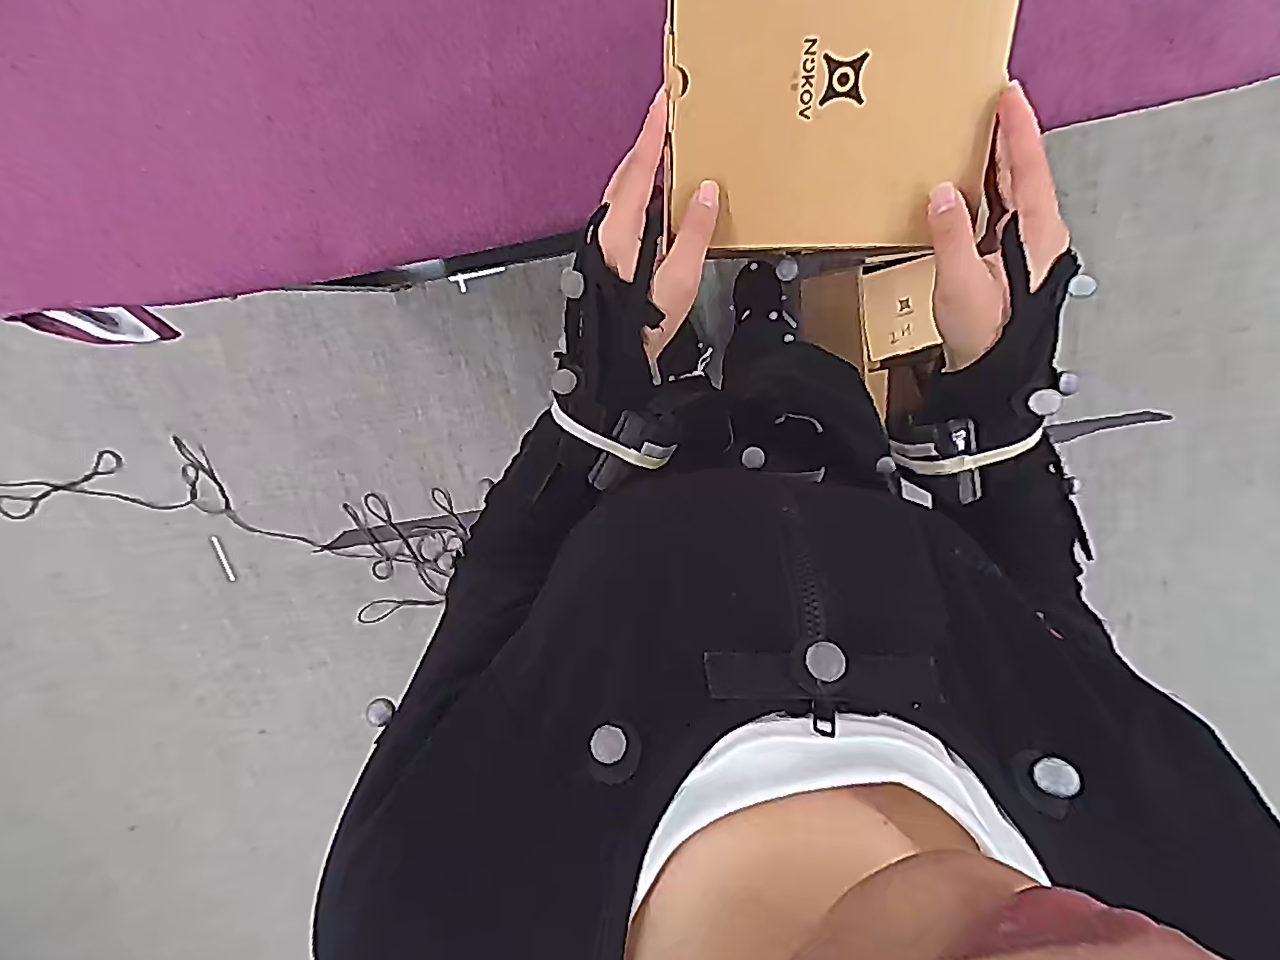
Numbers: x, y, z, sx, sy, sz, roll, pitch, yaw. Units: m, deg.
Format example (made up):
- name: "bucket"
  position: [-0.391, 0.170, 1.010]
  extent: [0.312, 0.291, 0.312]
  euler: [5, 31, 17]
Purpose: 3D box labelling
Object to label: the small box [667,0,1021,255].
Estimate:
- name: "small box"
  position: [0.108, -0.242, 0.358]
  extent: [0.179, 0.176, 0.168]
  euler: [0, 111, 3]
